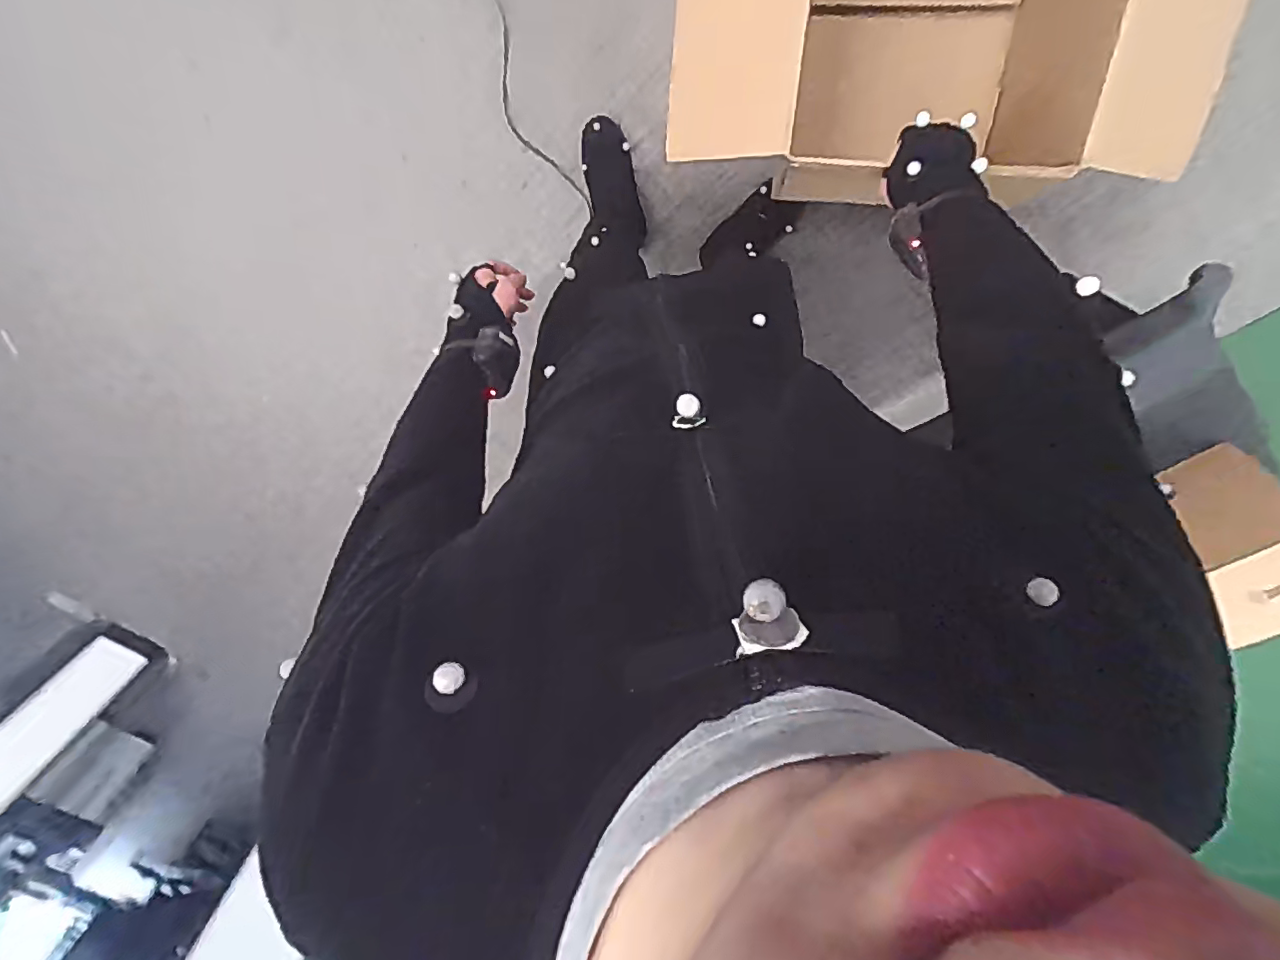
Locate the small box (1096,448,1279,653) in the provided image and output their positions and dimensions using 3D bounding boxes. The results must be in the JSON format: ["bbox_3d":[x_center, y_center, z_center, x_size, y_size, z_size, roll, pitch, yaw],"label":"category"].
[{"bbox_3d":[0.765,0.093,0.724,0.168,0.176,0.179,37,125,-18],"label":"small box"}]

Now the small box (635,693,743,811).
[{"bbox_3d":[0.112,0.605,1.211,0.179,0.176,0.168,-31,116,28],"label":"small box"}]
